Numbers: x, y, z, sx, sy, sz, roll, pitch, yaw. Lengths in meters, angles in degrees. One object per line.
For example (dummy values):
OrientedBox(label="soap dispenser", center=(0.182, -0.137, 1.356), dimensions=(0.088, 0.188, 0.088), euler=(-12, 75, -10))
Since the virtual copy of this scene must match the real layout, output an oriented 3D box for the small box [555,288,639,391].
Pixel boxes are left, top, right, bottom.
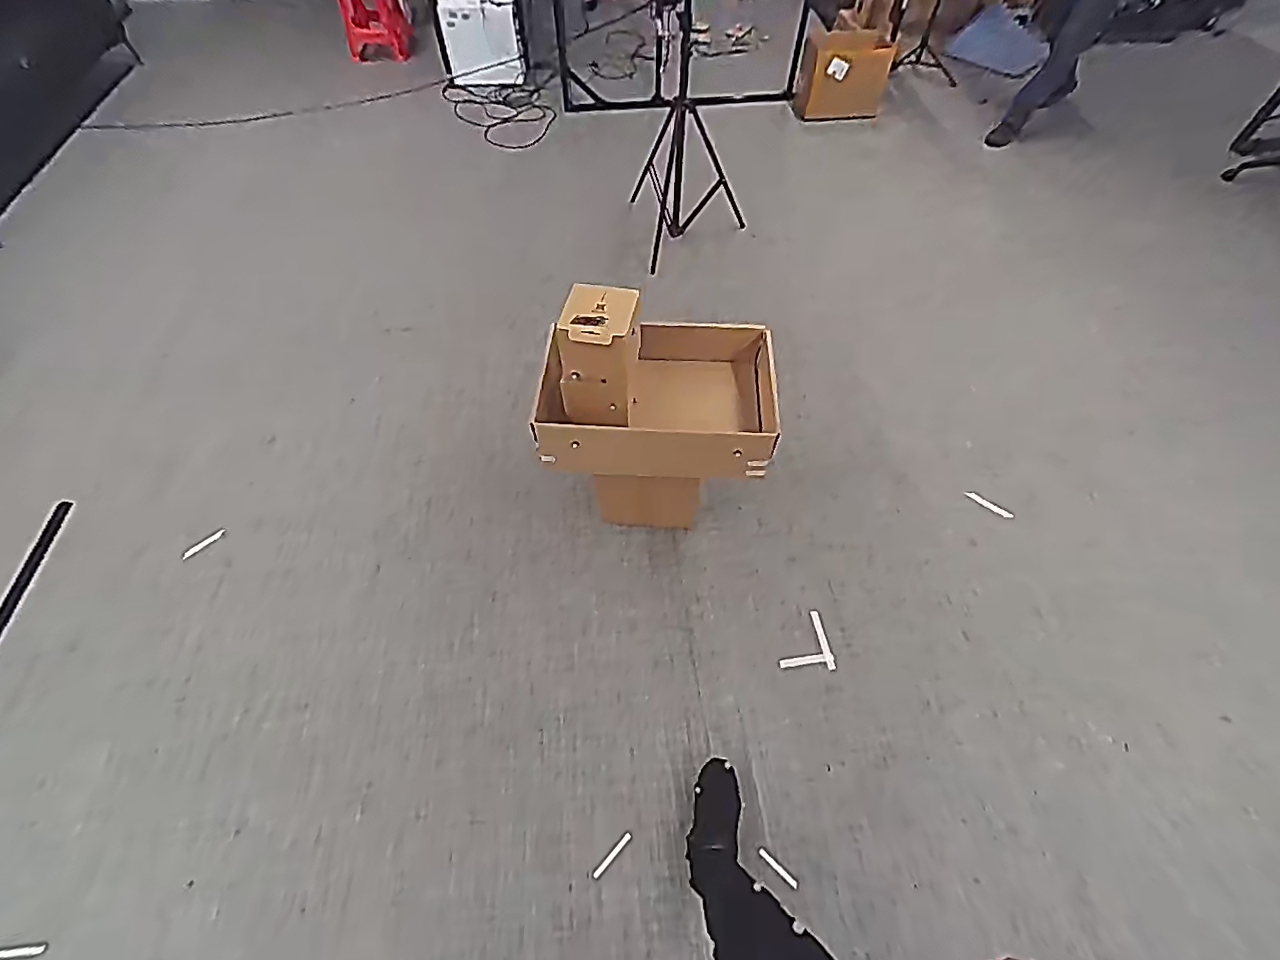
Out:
OrientedBox(label="small box", center=(-0.097, -0.343, 1.333), dimensions=(0.168, 0.176, 0.179), euler=(9, 56, 6))
